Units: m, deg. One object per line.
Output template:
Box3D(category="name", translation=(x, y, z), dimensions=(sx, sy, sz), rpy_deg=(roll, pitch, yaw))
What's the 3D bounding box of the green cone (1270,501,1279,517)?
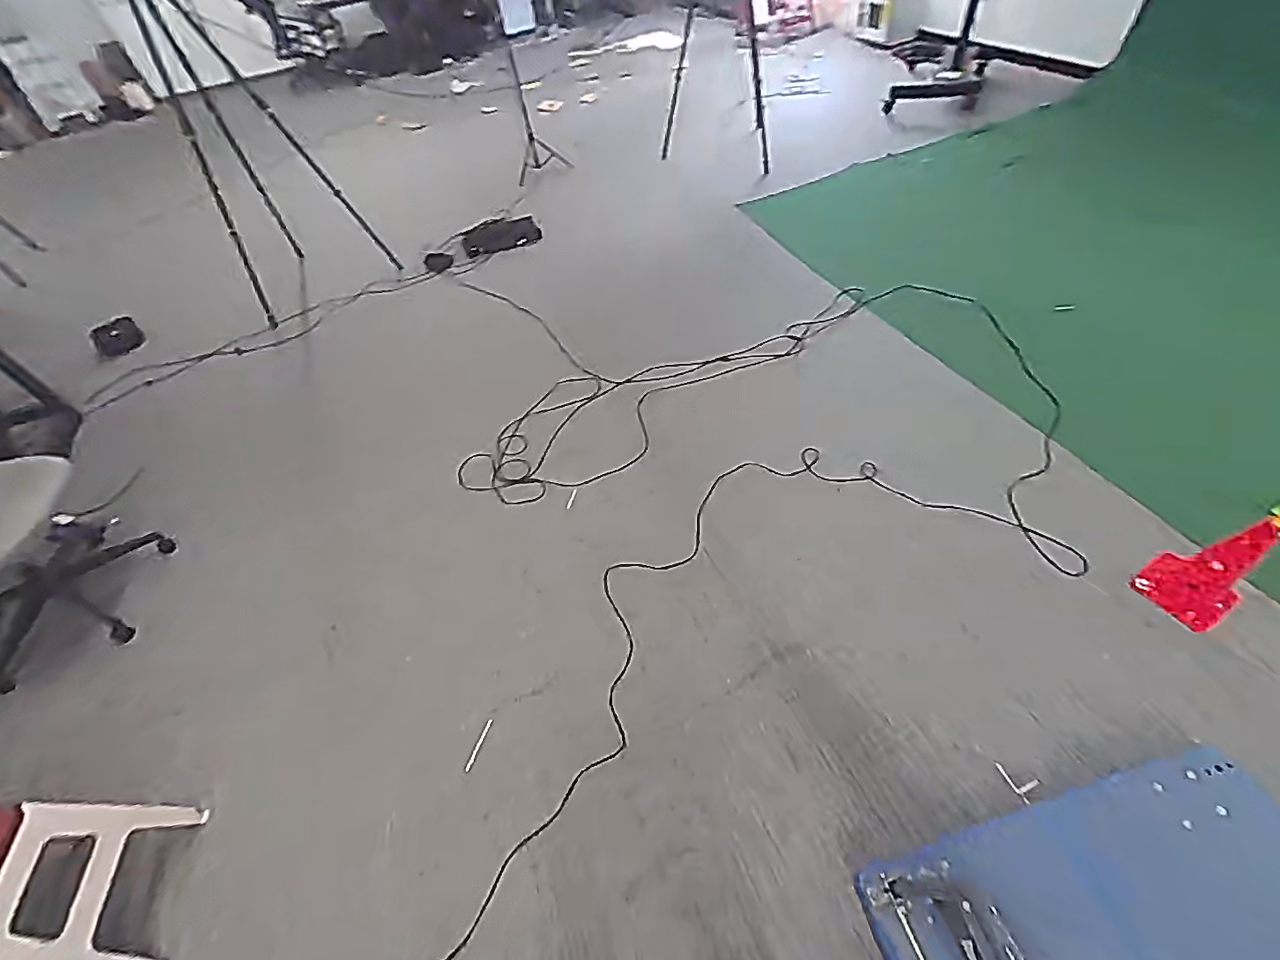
Box3D(category="green cone", translation=(2.067, 0.008, 1.513), dimensions=(0.202, 0.368, 0.200), rpy_deg=(-23, 51, -11))
